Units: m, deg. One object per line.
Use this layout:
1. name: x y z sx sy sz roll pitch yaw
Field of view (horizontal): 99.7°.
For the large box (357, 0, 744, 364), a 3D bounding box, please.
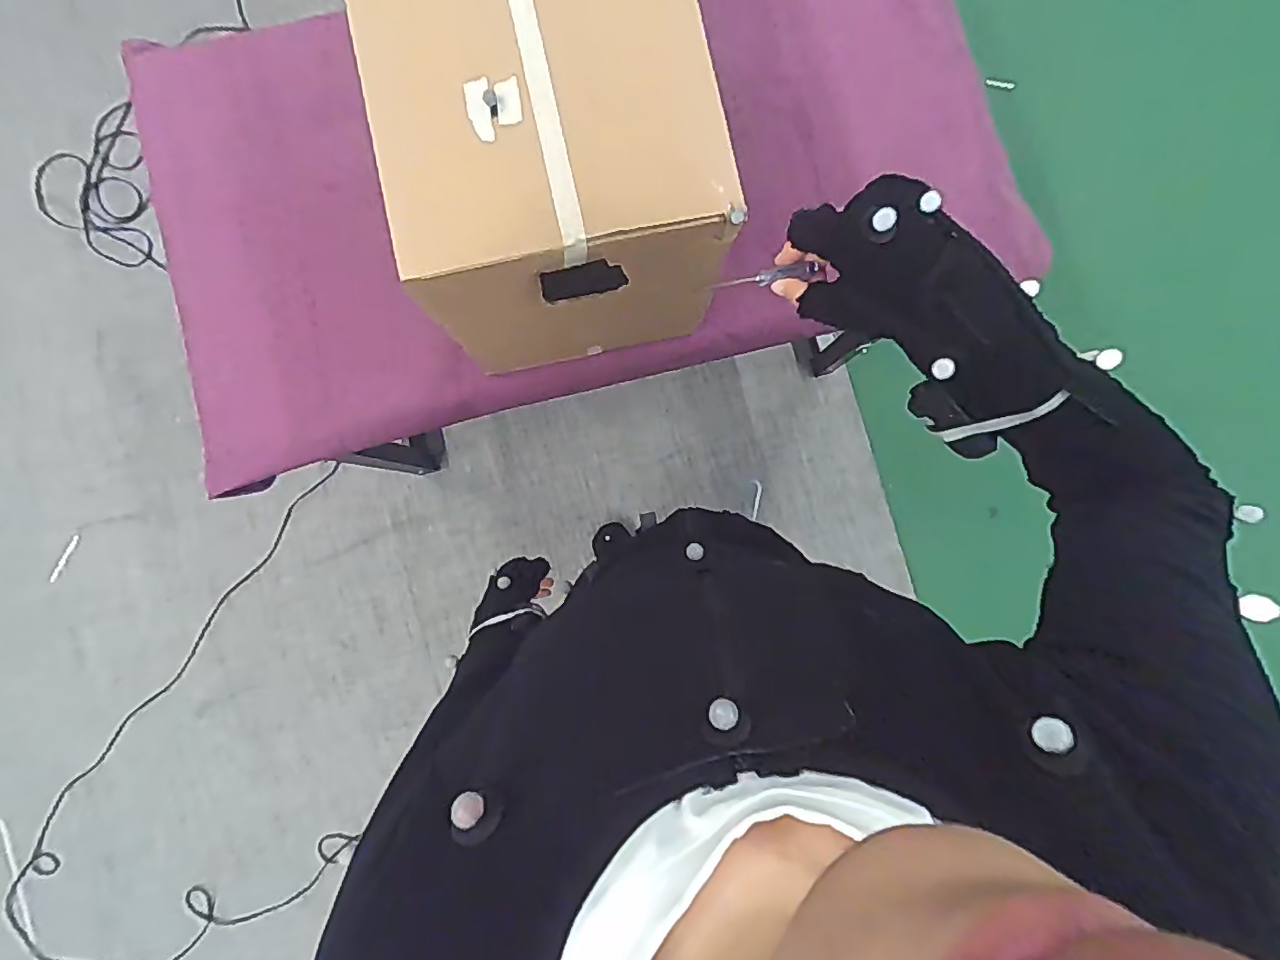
1. large box: -0.101 -0.397 0.649 0.320 0.320 0.408 -12 87 -2
